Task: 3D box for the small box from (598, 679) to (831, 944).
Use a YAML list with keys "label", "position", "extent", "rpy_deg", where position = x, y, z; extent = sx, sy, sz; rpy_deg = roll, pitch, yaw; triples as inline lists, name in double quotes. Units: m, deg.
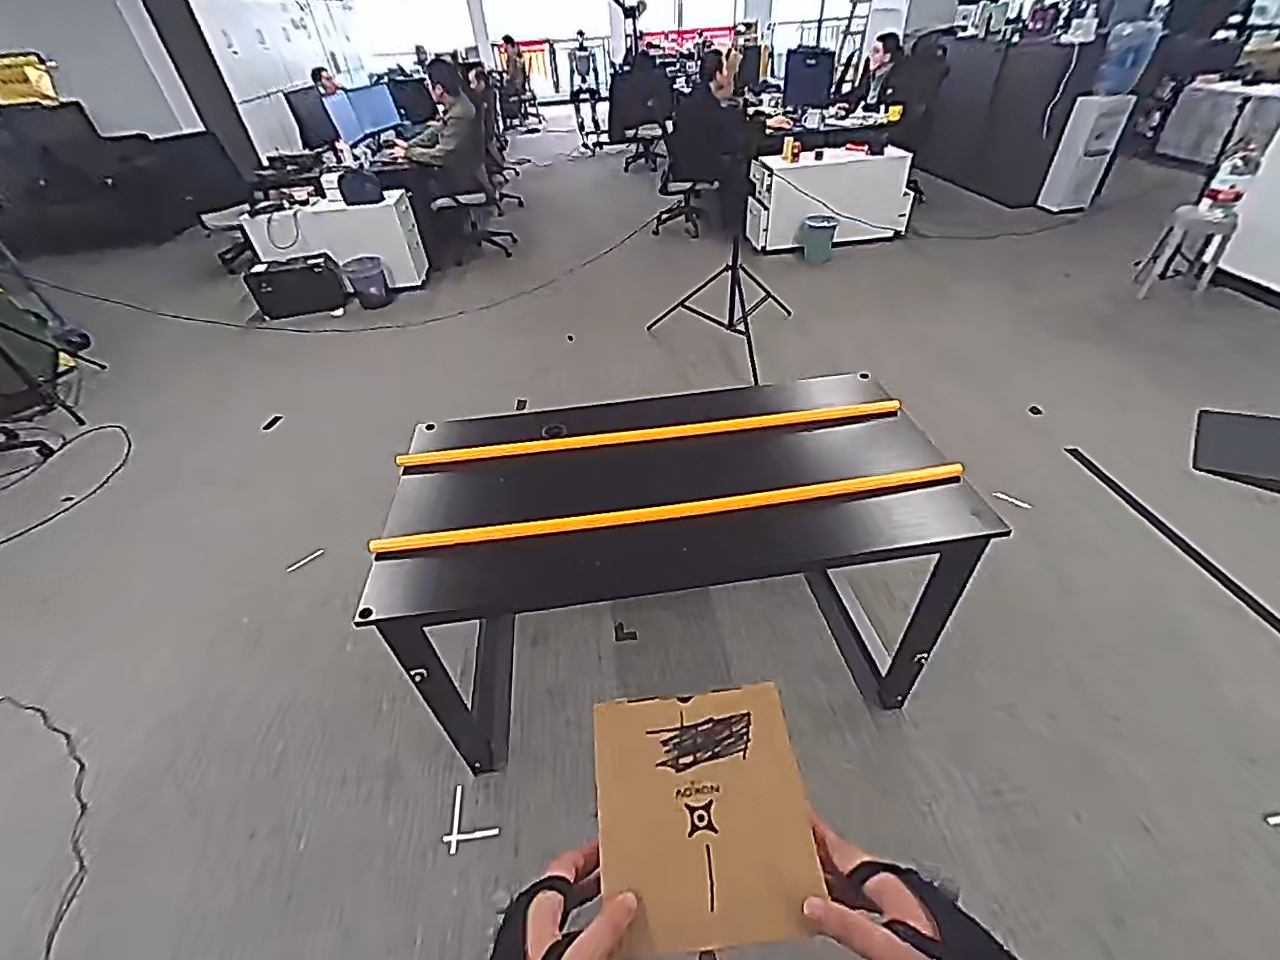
- label: "small box"
  position: [0.052, 0.305, 0.499]
  extent: [0.168, 0.176, 0.179]
  rpy_deg: [-6, 51, -1]
